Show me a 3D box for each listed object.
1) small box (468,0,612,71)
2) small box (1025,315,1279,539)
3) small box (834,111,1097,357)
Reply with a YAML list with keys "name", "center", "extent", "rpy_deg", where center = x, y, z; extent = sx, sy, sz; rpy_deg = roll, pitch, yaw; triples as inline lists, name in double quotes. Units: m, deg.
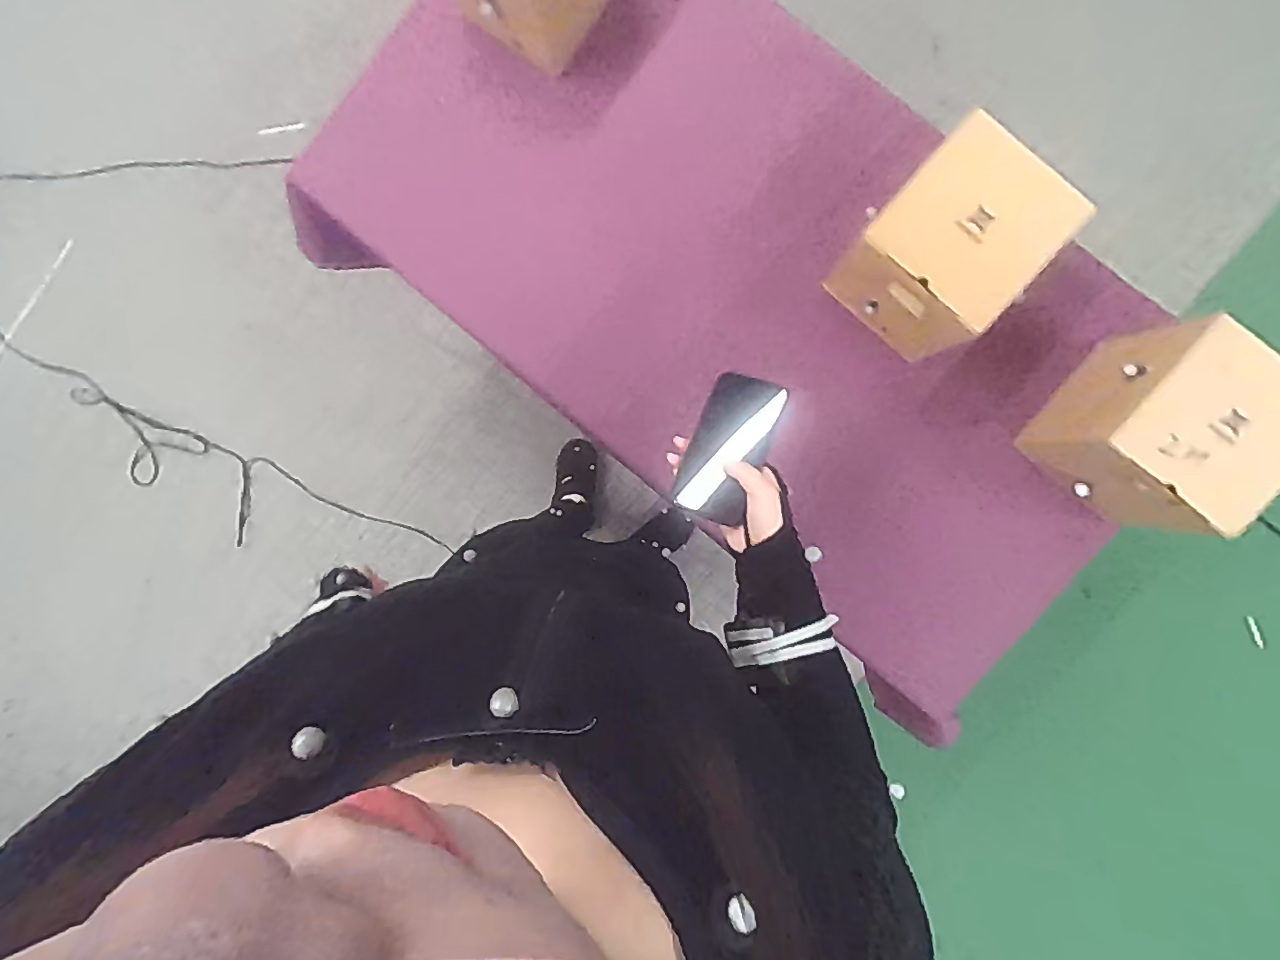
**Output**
- name: "small box"
  center: [-0.130, -0.662, 0.659]
  extent: [0.168, 0.176, 0.179]
  rpy_deg: [35, 96, 0]
- name: "small box"
  center: [0.616, -0.058, 0.638]
  extent: [0.168, 0.176, 0.179]
  rpy_deg: [40, 95, 2]
- name: "small box"
  center: [0.365, -0.274, 0.648]
  extent: [0.168, 0.176, 0.179]
  rpy_deg: [42, 95, 1]
